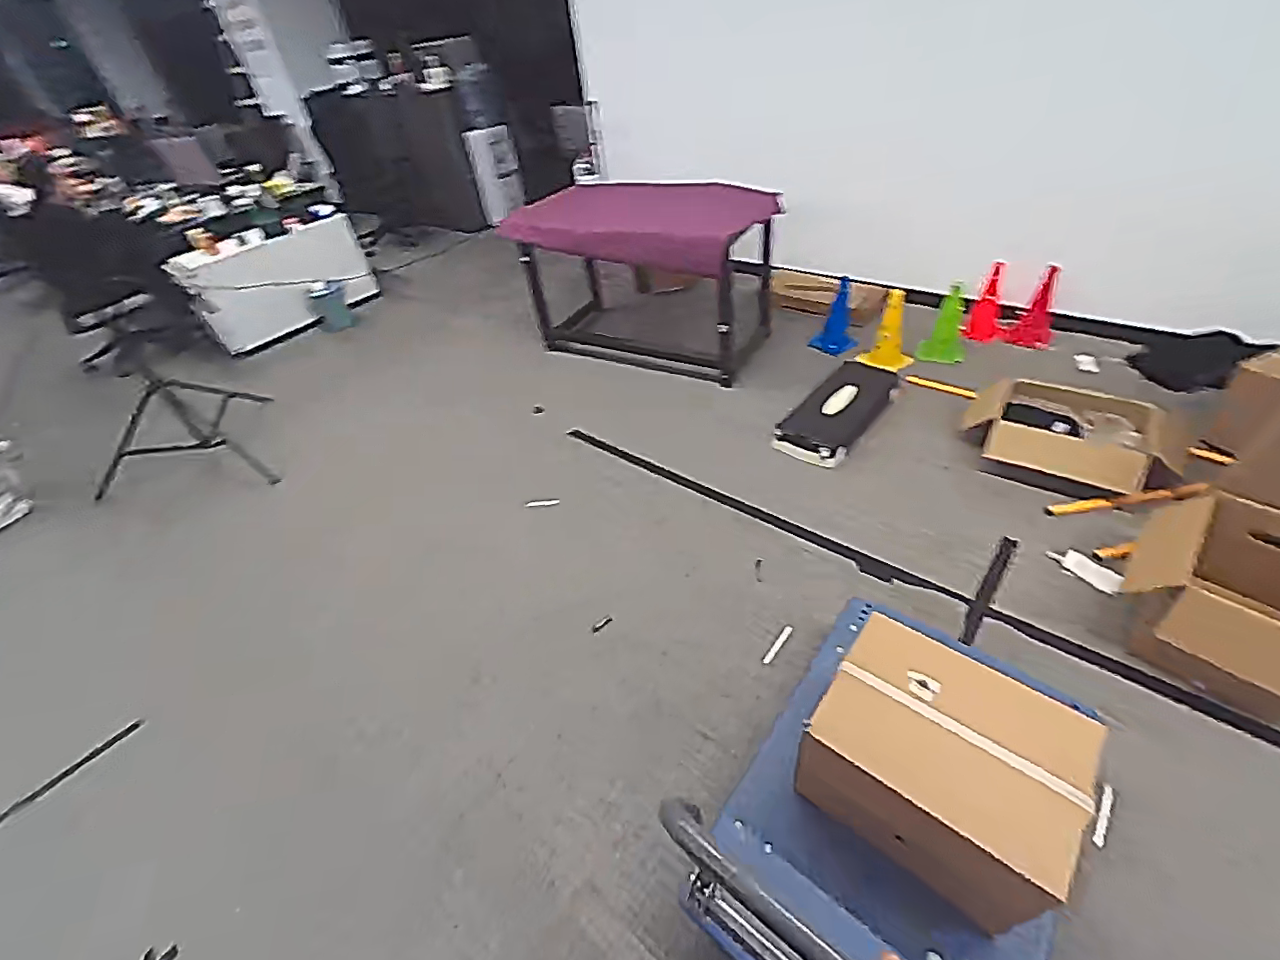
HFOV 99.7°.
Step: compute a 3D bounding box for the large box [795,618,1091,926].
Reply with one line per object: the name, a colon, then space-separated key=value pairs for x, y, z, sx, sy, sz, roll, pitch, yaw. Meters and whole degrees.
large box: x=0.566 y=0.557 z=1.068 sx=0.408 sy=0.320 sz=0.320 roll=24 pitch=51 yaw=33
